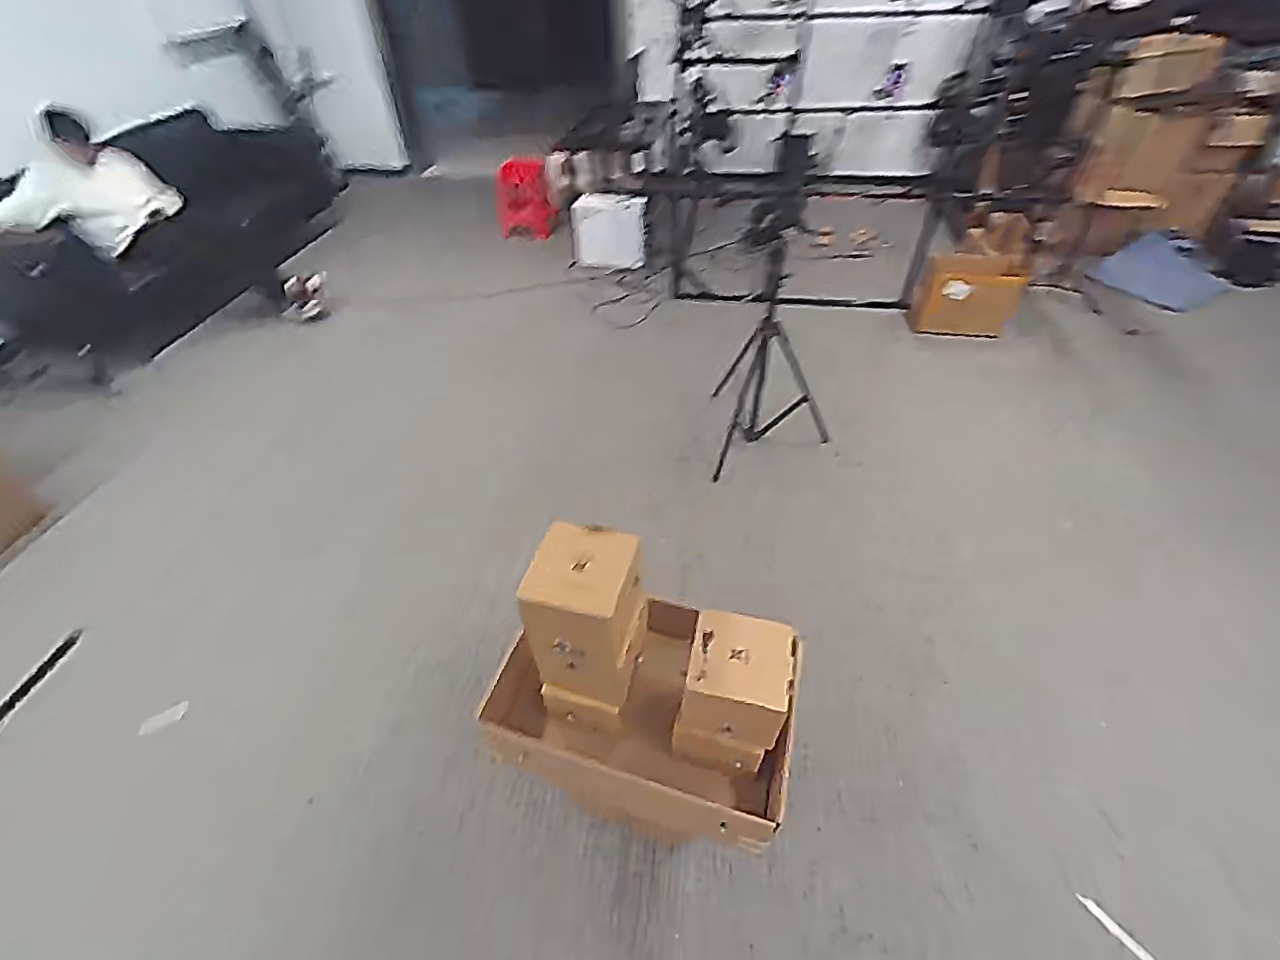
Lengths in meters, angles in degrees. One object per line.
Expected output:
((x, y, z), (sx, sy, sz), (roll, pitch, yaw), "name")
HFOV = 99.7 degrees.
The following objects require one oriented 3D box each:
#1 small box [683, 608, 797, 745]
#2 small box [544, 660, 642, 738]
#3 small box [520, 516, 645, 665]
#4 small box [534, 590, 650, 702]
((0.183, 0.369, 1.006), (0.179, 0.176, 0.168), (10, 46, 12), "small box")
((-0.092, 0.434, 1.183), (0.168, 0.176, 0.179), (12, 46, 12), "small box")
((-0.093, 0.195, 0.958), (0.168, 0.176, 0.179), (11, 45, 12), "small box")
((-0.087, 0.312, 1.072), (0.179, 0.176, 0.168), (13, 46, 13), "small box")
